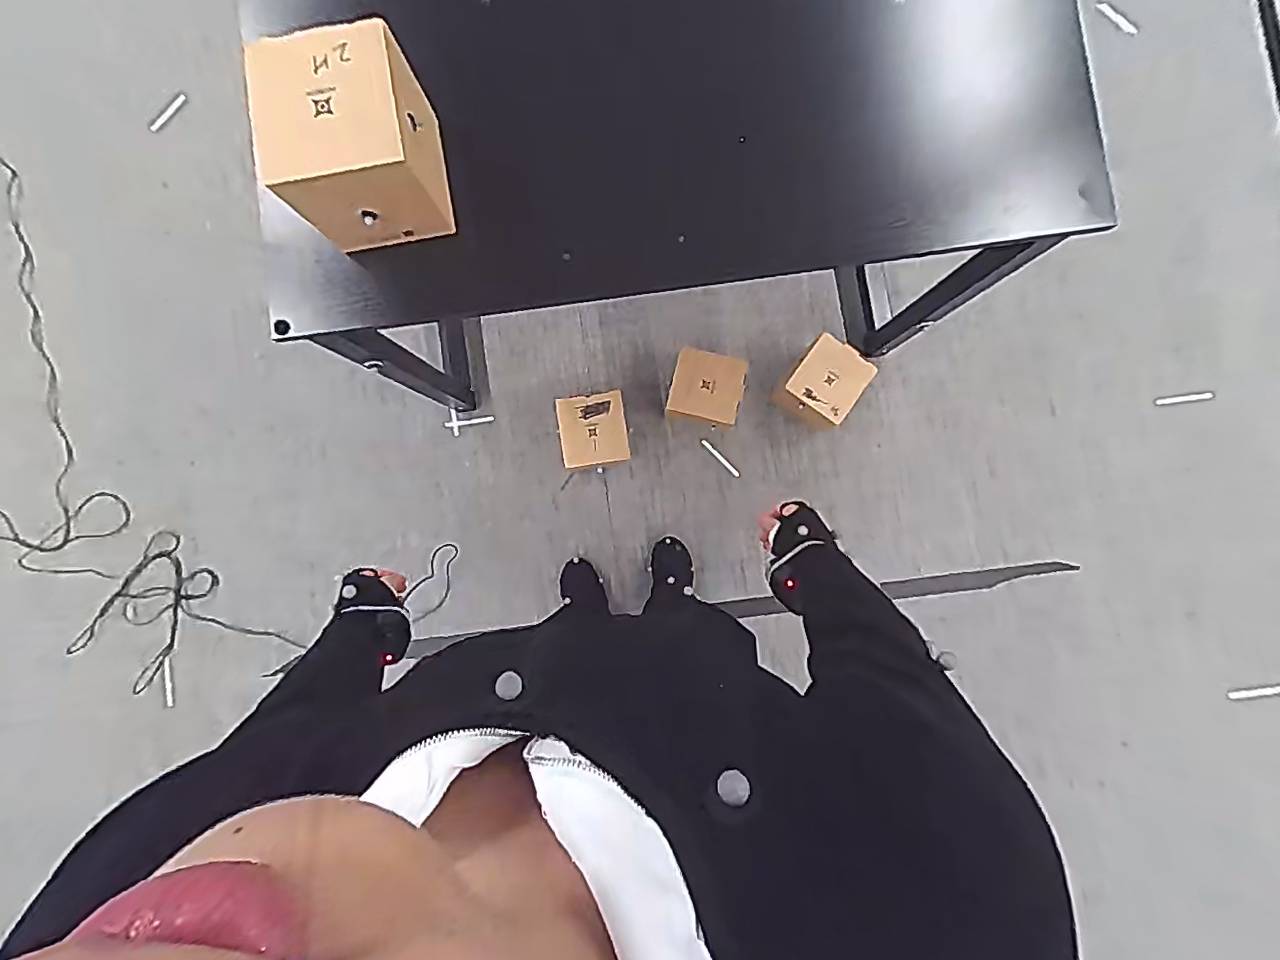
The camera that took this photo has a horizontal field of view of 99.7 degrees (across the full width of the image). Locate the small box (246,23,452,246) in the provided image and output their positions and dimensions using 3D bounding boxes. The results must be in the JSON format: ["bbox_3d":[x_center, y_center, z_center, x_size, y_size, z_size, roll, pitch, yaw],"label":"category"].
[{"bbox_3d":[-0.360,-0.426,0.699,0.168,0.176,0.179,-10,87,0],"label":"small box"}]

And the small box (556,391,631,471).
[{"bbox_3d":[-0.117,-0.122,1.414,0.168,0.176,0.179,-9,89,1],"label":"small box"}]

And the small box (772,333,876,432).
[{"bbox_3d":[0.468,-0.246,1.410,0.168,0.176,0.179,36,89,2],"label":"small box"}]

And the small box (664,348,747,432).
[{"bbox_3d":[0.166,-0.227,1.416,0.179,0.176,0.168,13,87,3],"label":"small box"}]
